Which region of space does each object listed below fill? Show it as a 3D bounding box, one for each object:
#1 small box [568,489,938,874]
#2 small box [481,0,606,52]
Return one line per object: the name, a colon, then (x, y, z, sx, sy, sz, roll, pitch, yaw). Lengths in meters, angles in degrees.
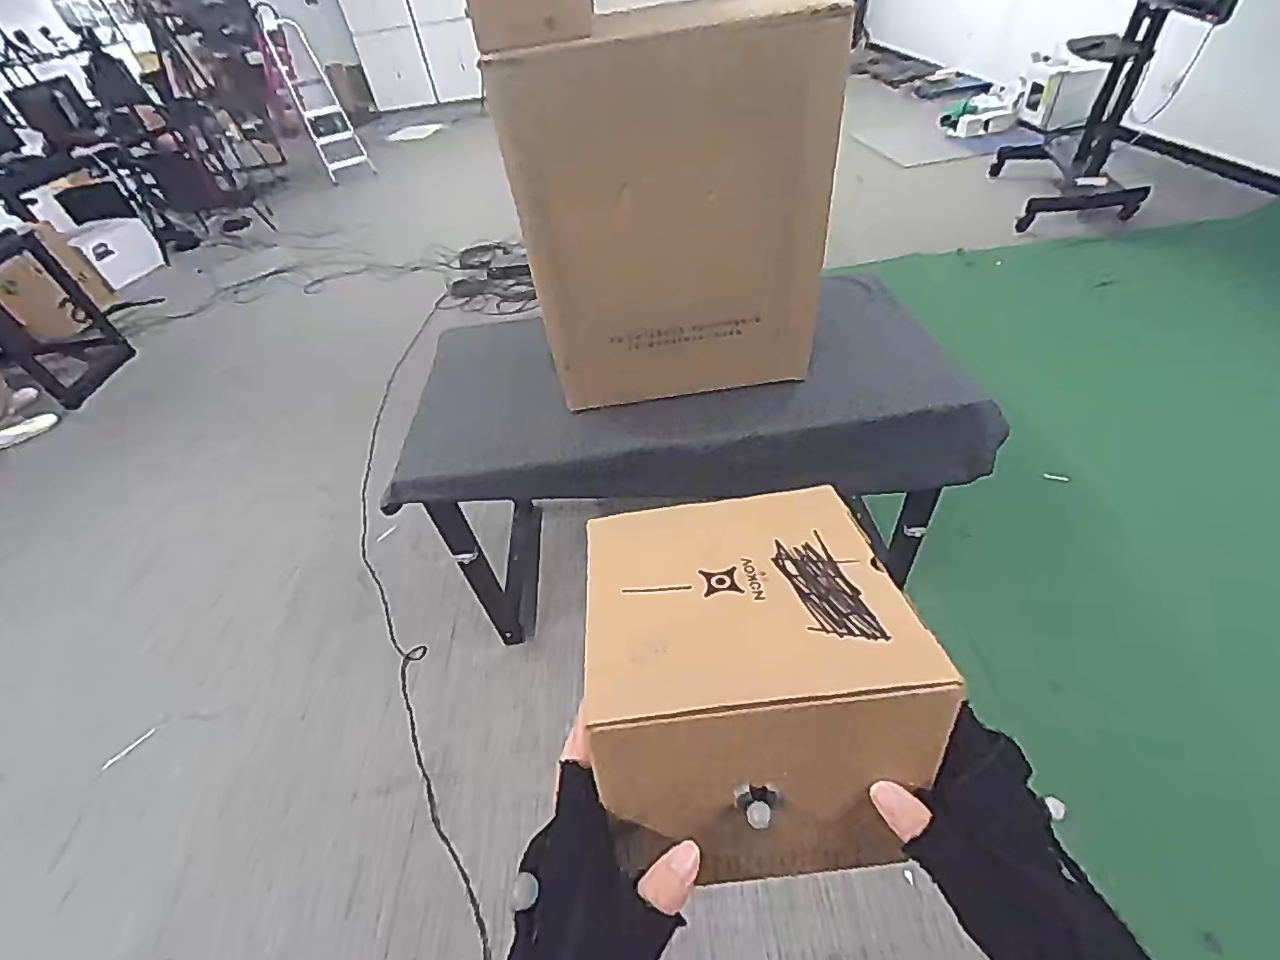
small box: (0.057, 0.126, 0.358, 0.179, 0.176, 0.168, -6, 30, 1)
small box: (-0.142, -0.723, 0.757, 0.168, 0.176, 0.179, -8, 47, 1)
